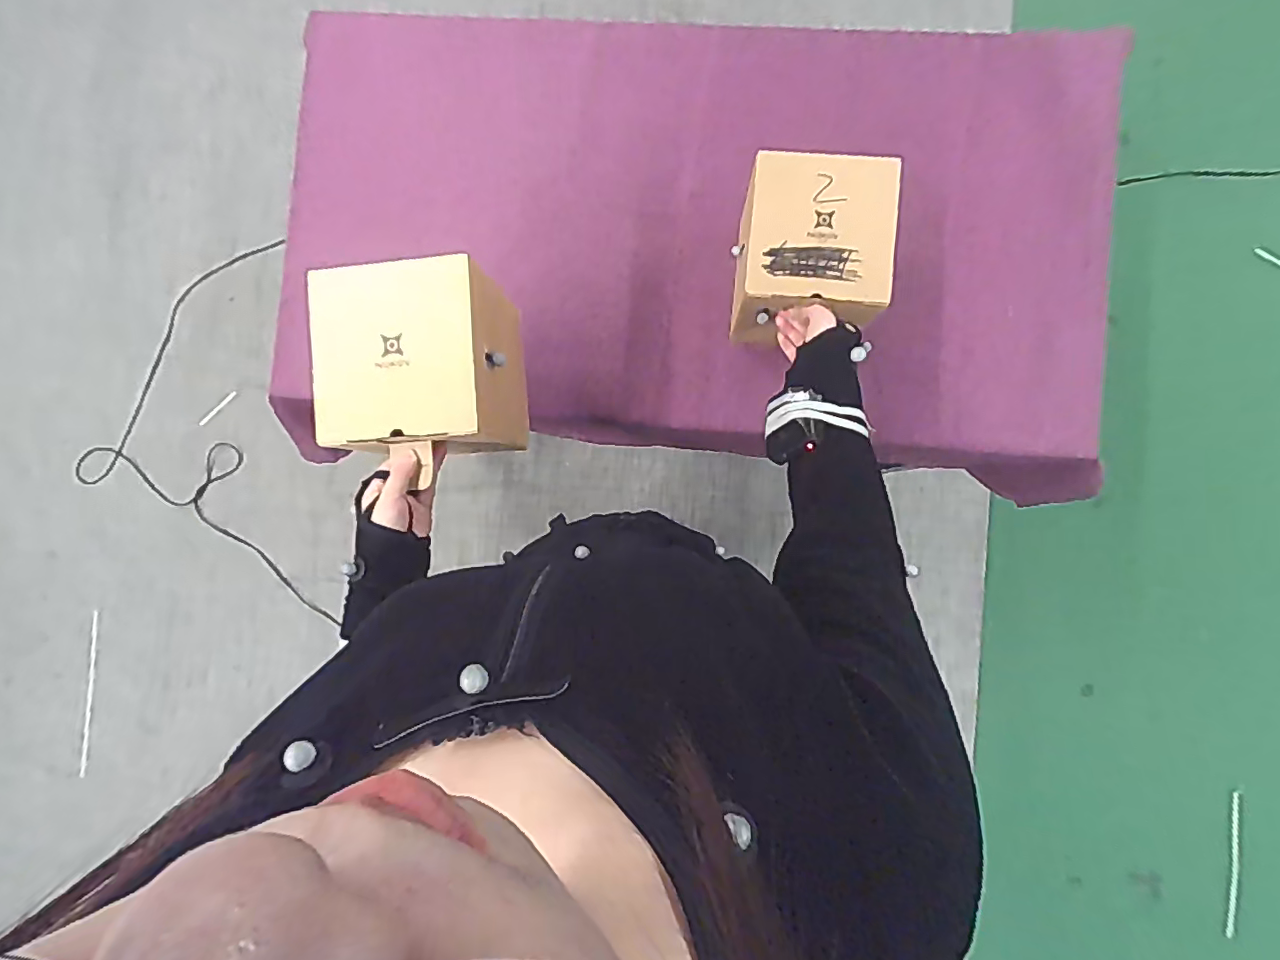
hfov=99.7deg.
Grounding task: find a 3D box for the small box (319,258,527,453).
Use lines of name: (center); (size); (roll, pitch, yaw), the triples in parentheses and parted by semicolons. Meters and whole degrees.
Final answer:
small box: (-0.234, -0.128, 0.619); (0.168, 0.176, 0.179); (-4, 89, 5)
